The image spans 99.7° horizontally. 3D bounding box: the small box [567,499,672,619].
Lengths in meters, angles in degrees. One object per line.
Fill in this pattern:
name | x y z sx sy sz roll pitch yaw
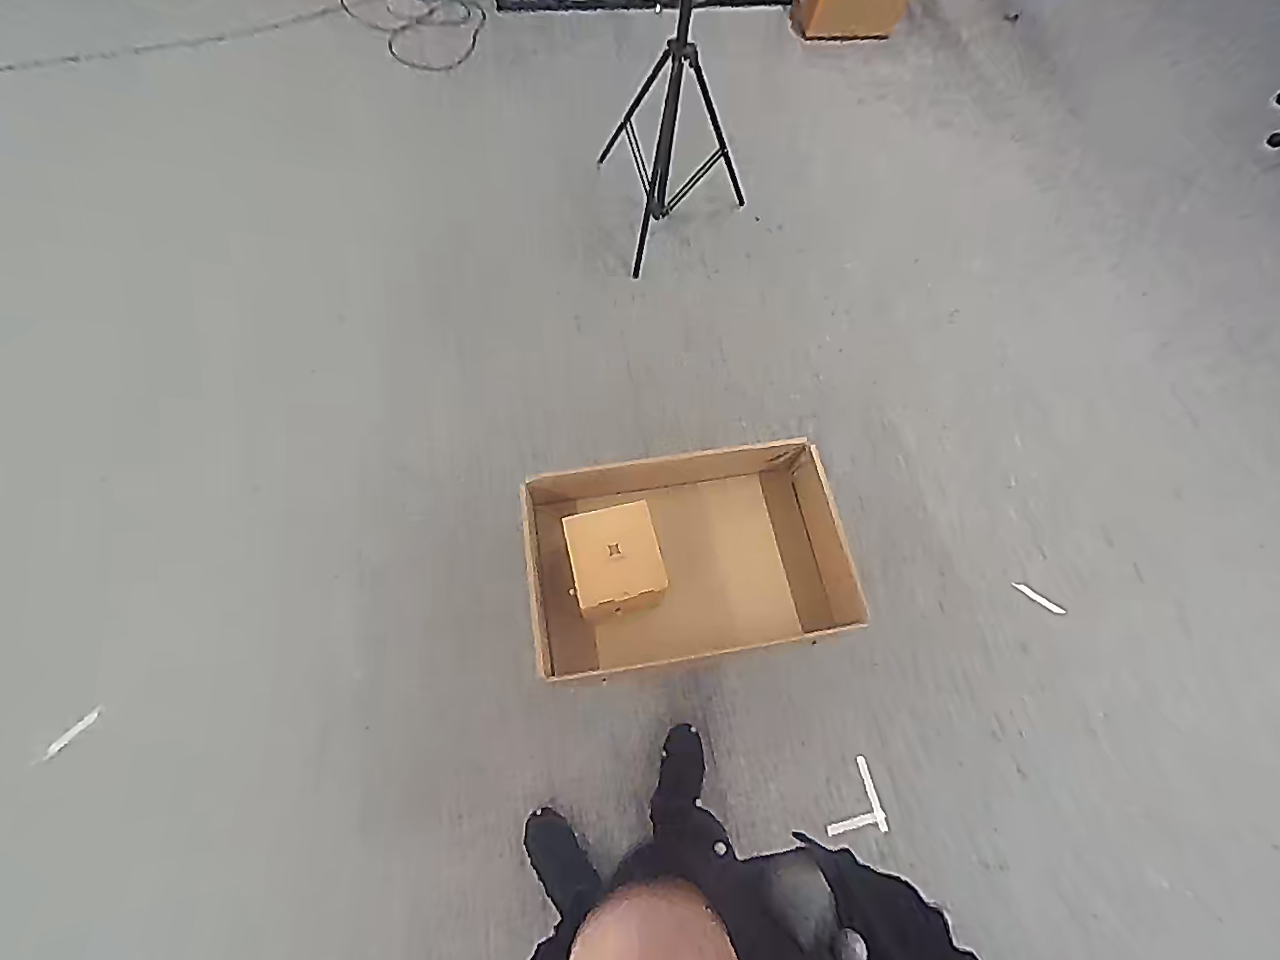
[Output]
small box | -0.046 0.161 1.066 0.168 0.176 0.179 -13 69 -8
